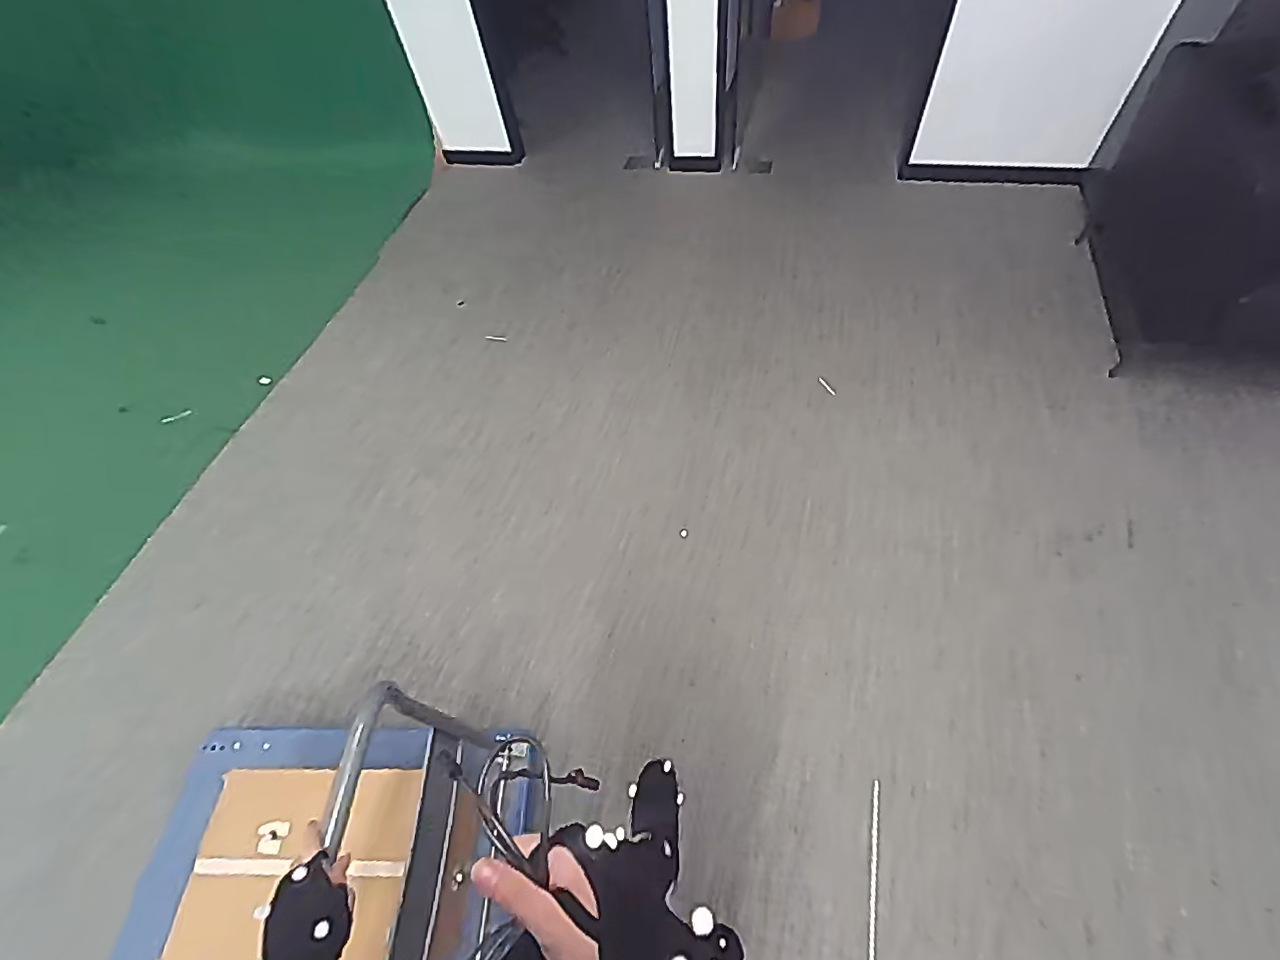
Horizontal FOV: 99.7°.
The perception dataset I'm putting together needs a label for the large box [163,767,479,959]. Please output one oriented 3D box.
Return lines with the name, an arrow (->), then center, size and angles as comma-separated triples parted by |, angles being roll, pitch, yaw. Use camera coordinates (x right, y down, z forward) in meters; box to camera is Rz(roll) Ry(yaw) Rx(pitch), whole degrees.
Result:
large box -> -0.581, 0.763, 1.074 | 0.408, 0.320, 0.320 | -3, 56, 6
